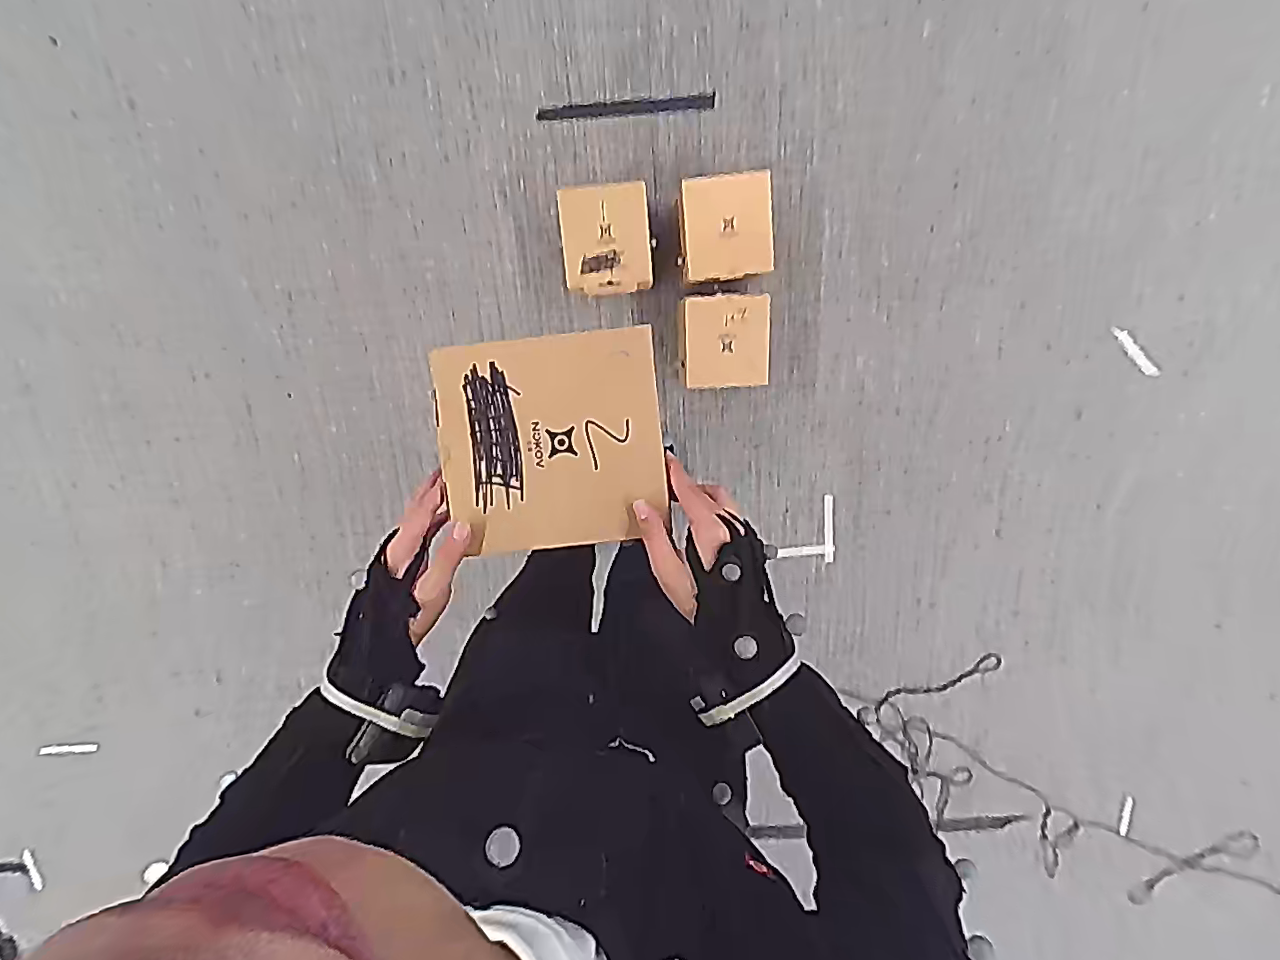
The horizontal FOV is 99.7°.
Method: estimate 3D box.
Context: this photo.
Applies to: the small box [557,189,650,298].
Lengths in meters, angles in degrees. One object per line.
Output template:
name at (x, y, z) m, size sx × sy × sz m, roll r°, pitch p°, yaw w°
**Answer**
small box at (-0.066, -0.464, 1.087) m, size 0.168 × 0.176 × 0.179 m, roll -5°, pitch 103°, yaw 0°
